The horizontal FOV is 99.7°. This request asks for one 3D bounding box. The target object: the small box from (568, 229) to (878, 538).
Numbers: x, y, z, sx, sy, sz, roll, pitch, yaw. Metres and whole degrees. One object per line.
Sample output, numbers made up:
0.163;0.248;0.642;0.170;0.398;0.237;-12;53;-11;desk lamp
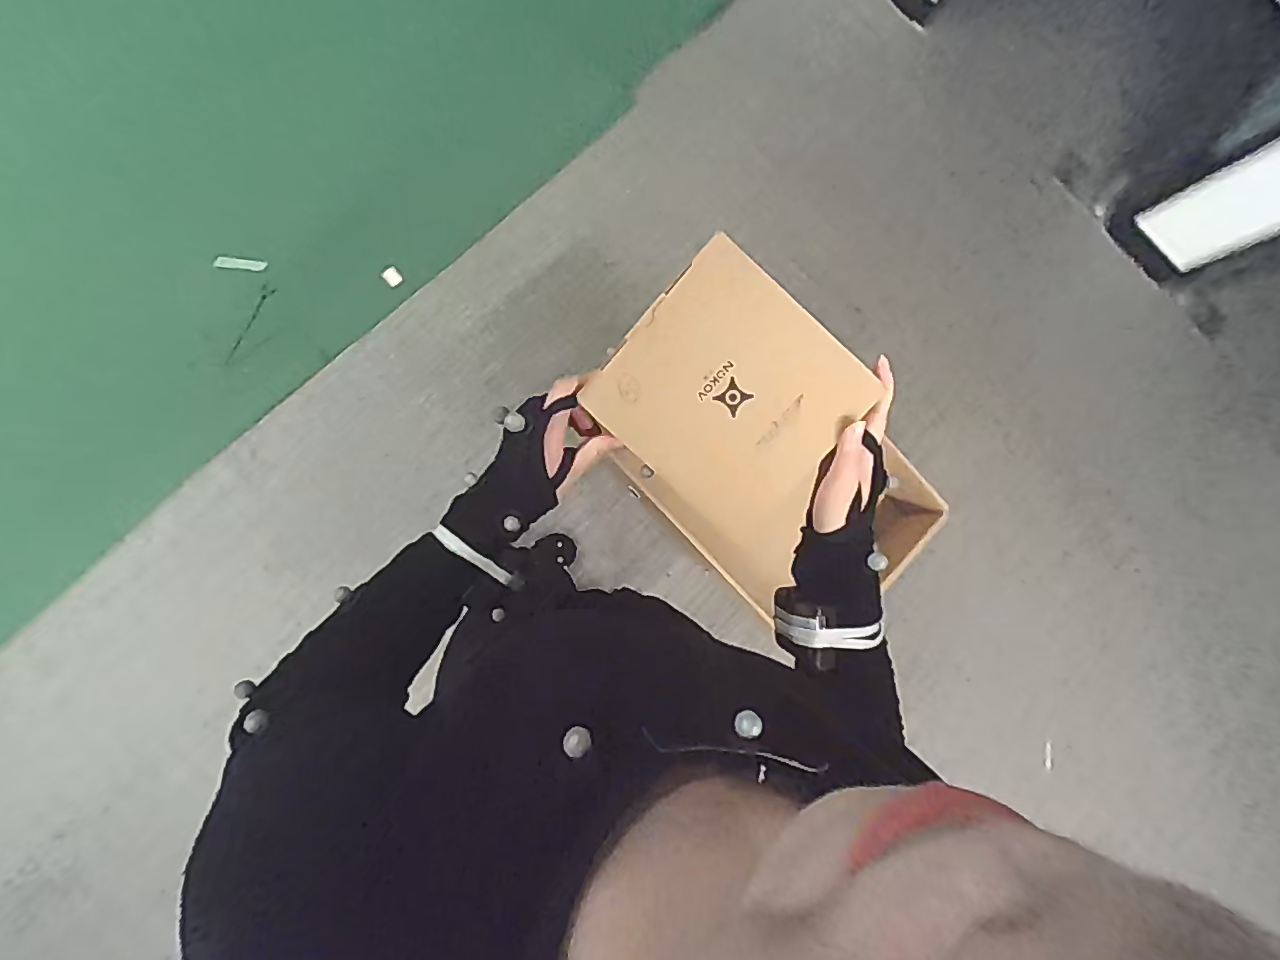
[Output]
0.063;-0.078;0.484;0.179;0.176;0.168;41;98;-4;small box
